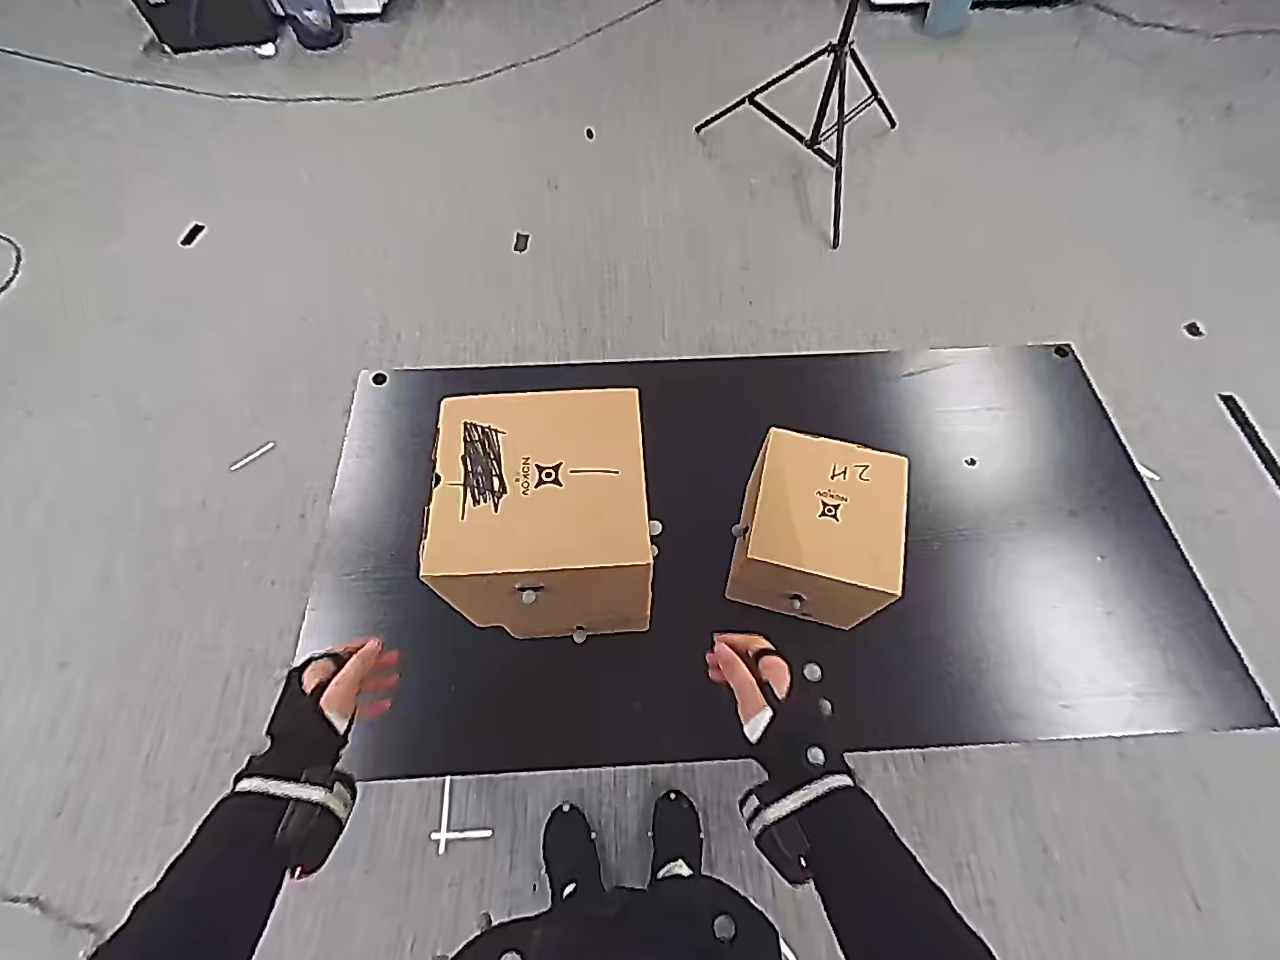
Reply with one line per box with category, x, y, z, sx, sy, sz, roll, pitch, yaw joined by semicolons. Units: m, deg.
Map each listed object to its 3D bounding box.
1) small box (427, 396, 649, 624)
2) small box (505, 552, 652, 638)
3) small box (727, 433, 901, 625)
small box;-0.082;0.037;0.524;0.179;0.176;0.168;-3;63;-2
small box;-0.080;0.097;0.680;0.179;0.176;0.168;-3;62;-3
small box;0.213;0.071;0.693;0.168;0.176;0.179;14;63;7
